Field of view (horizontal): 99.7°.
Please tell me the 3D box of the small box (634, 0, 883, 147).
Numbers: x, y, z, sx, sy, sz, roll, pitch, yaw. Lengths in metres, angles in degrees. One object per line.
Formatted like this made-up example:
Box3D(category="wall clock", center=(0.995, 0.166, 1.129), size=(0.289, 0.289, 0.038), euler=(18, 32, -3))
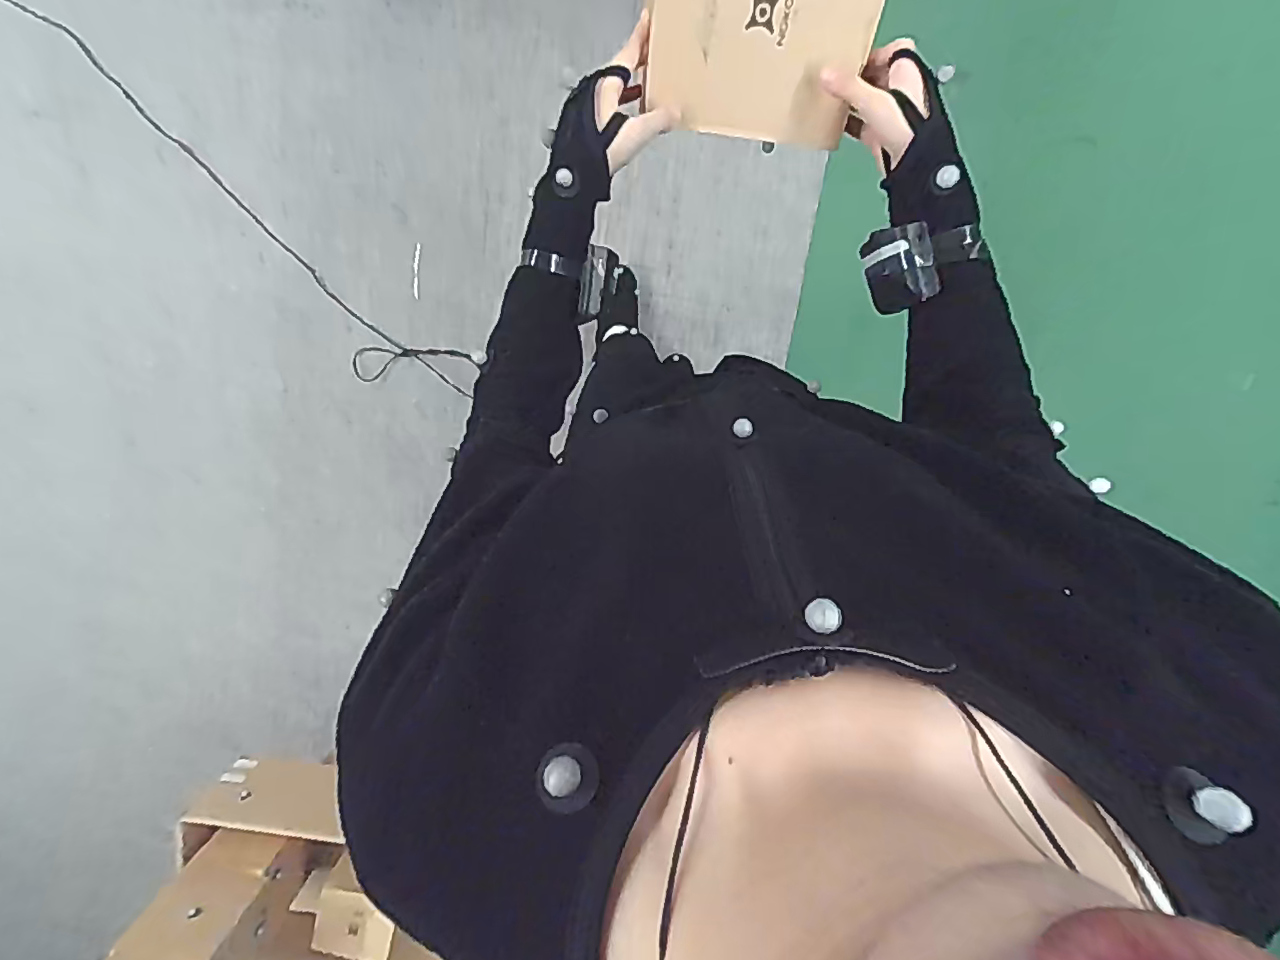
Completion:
Box3D(category="small box", center=(0.093, -0.407, 0.470), size=(0.179, 0.176, 0.168), euler=(4, 128, -6))
